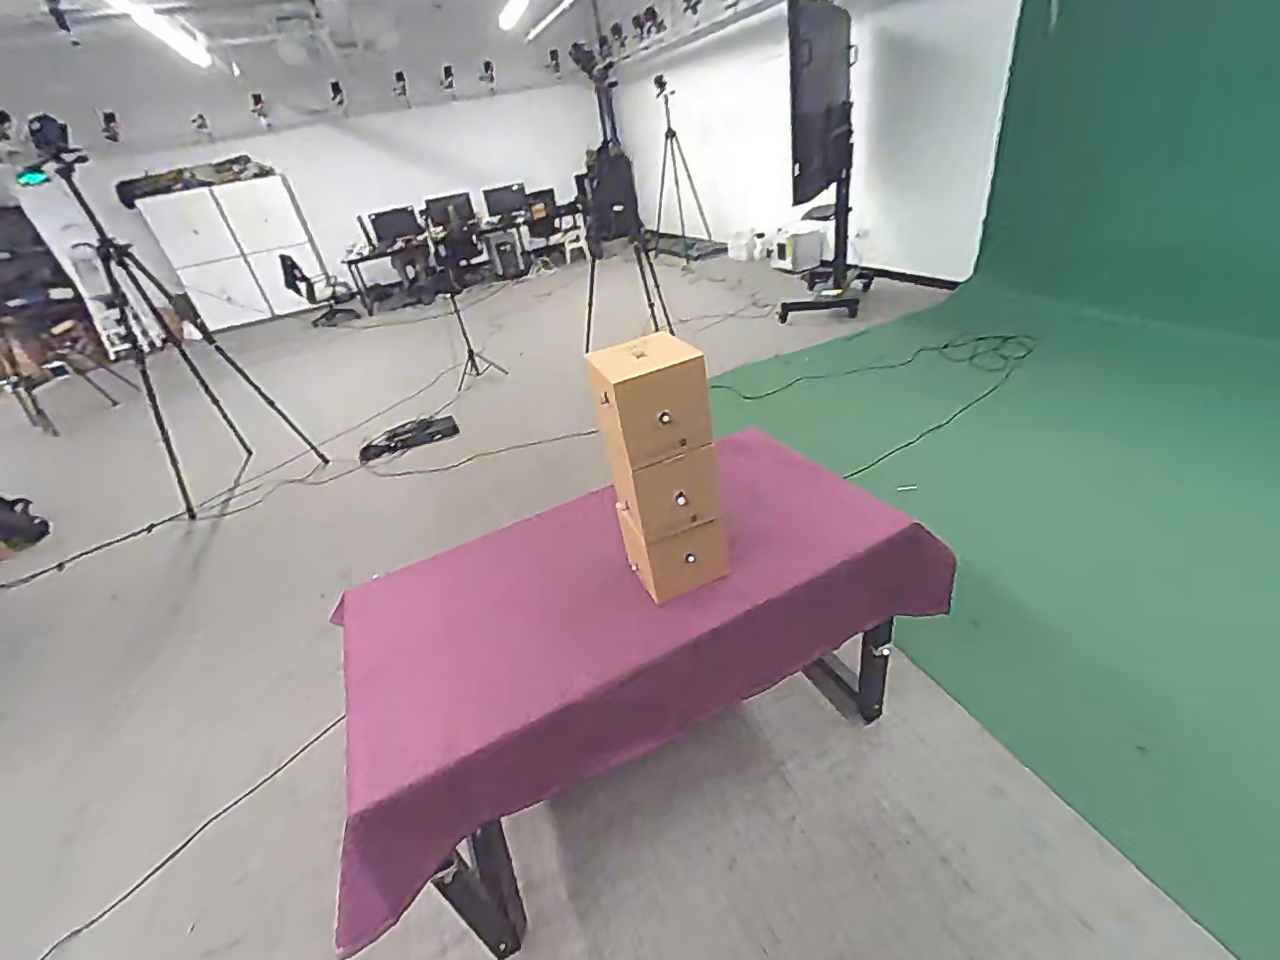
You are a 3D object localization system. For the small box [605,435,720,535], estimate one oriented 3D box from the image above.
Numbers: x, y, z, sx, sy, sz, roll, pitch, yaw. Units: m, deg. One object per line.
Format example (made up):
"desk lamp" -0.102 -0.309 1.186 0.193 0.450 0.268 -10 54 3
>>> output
"small box" 0.046 -0.011 1.066 0.168 0.176 0.179 -19 34 -12

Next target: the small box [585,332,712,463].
"small box" 0.017 -0.147 0.976 0.168 0.176 0.179 -19 33 -13
